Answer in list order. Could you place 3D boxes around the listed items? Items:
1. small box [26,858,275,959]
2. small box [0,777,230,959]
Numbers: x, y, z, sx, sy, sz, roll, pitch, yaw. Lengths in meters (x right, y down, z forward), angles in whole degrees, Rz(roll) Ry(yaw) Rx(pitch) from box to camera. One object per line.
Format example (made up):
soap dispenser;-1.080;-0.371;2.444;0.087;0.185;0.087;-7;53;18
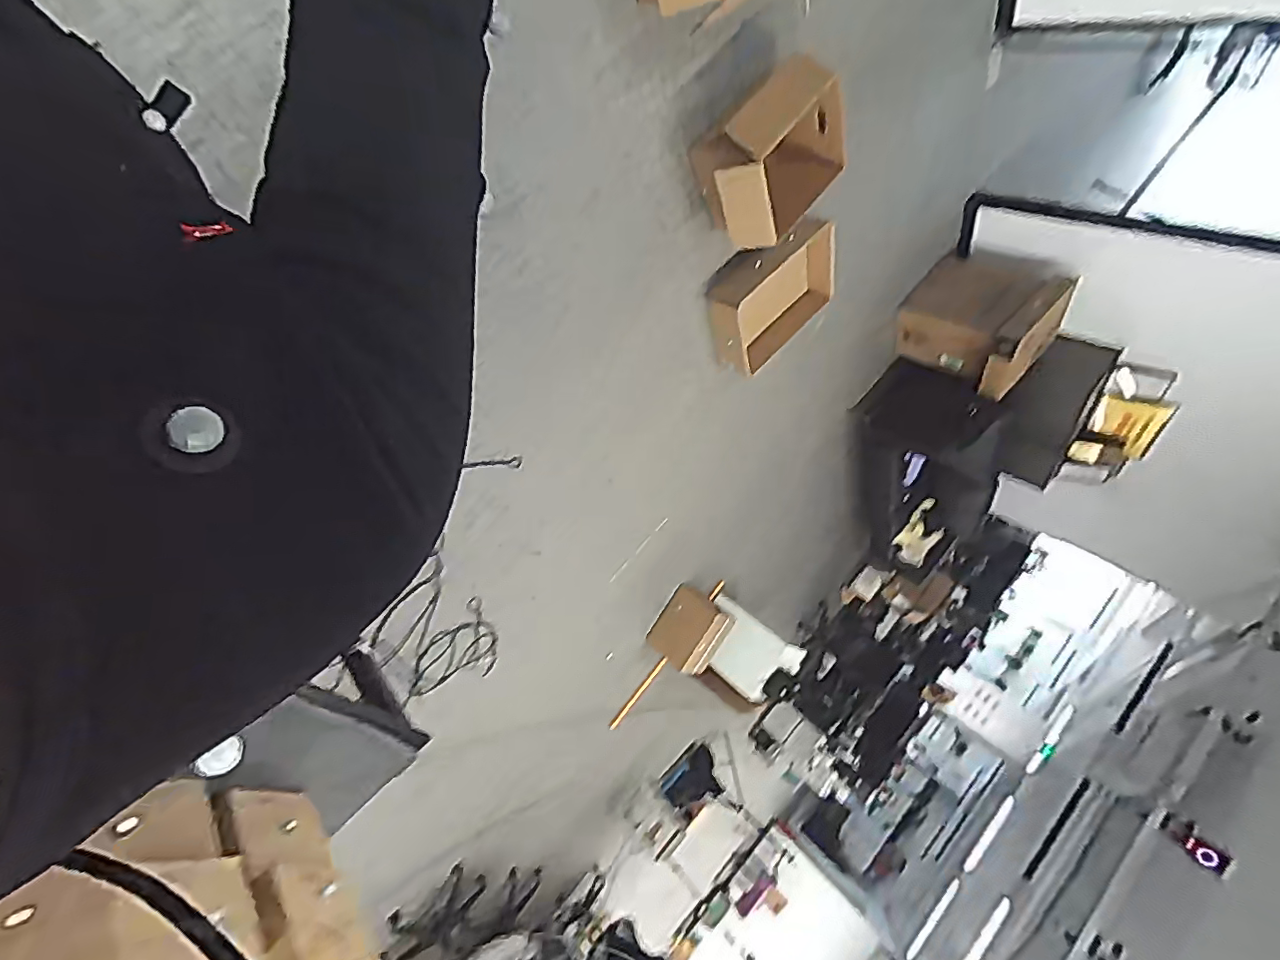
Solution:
small box;-0.593;0.589;0.647;0.179;0.176;0.168;-49;143;-7
small box;-0.718;0.536;0.739;0.179;0.176;0.168;-50;143;-6
